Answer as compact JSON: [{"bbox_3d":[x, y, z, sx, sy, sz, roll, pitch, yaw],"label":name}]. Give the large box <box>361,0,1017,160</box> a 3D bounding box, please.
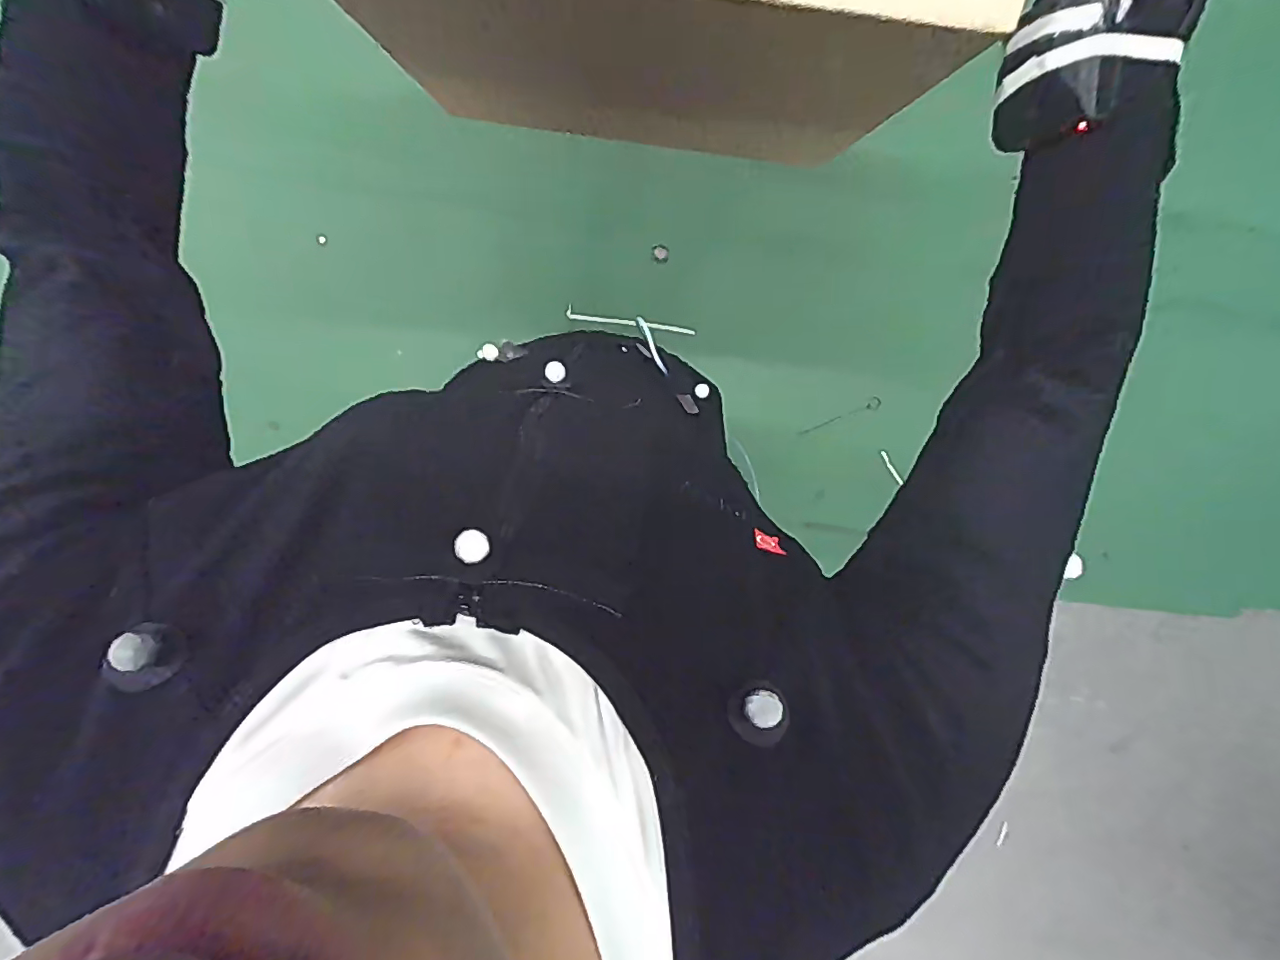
[{"bbox_3d":[0.021,-0.461,0.389,0.408,0.320,0.320,5,108,-4],"label":"large box"}]
